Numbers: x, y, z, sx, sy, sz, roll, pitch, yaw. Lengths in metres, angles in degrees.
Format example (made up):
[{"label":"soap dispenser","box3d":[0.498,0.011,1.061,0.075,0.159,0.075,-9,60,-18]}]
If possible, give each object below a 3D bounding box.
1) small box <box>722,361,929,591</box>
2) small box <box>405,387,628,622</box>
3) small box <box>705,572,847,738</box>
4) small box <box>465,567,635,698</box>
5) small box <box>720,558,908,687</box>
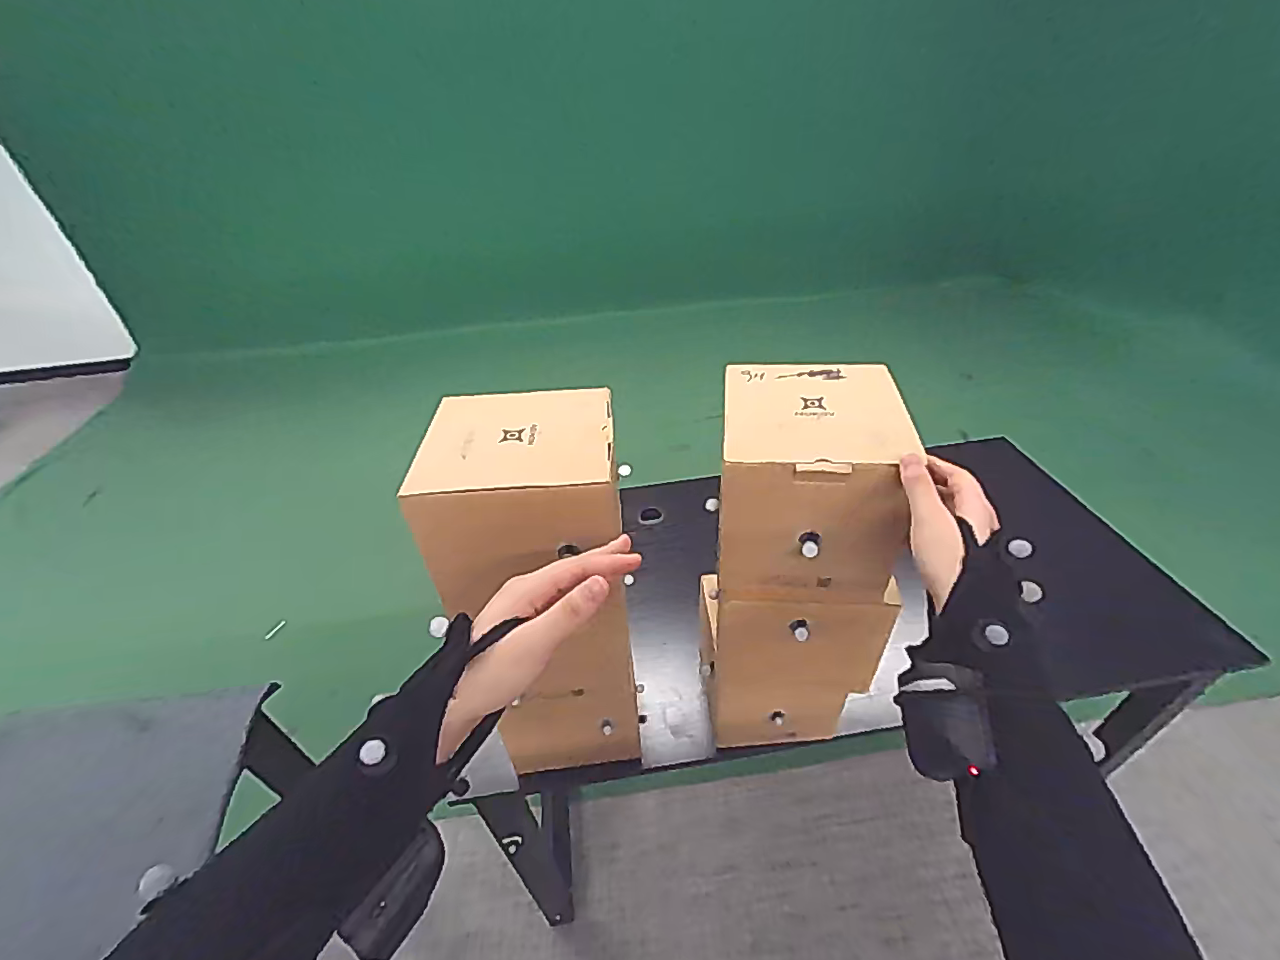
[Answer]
[{"label":"small box","box3d":[0.171,-0.005,0.555,0.168,0.176,0.179,2,40,9]},{"label":"small box","box3d":[-0.103,0.024,0.545,0.179,0.176,0.168,-5,37,-1]},{"label":"small box","box3d":[0.184,0.245,0.764,0.168,0.176,0.179,-4,39,0]},{"label":"small box","box3d":[-0.095,0.145,0.654,0.168,0.176,0.179,-4,38,-2]},{"label":"small box","box3d":[0.189,0.130,0.647,0.179,0.176,0.168,1,40,6]}]
